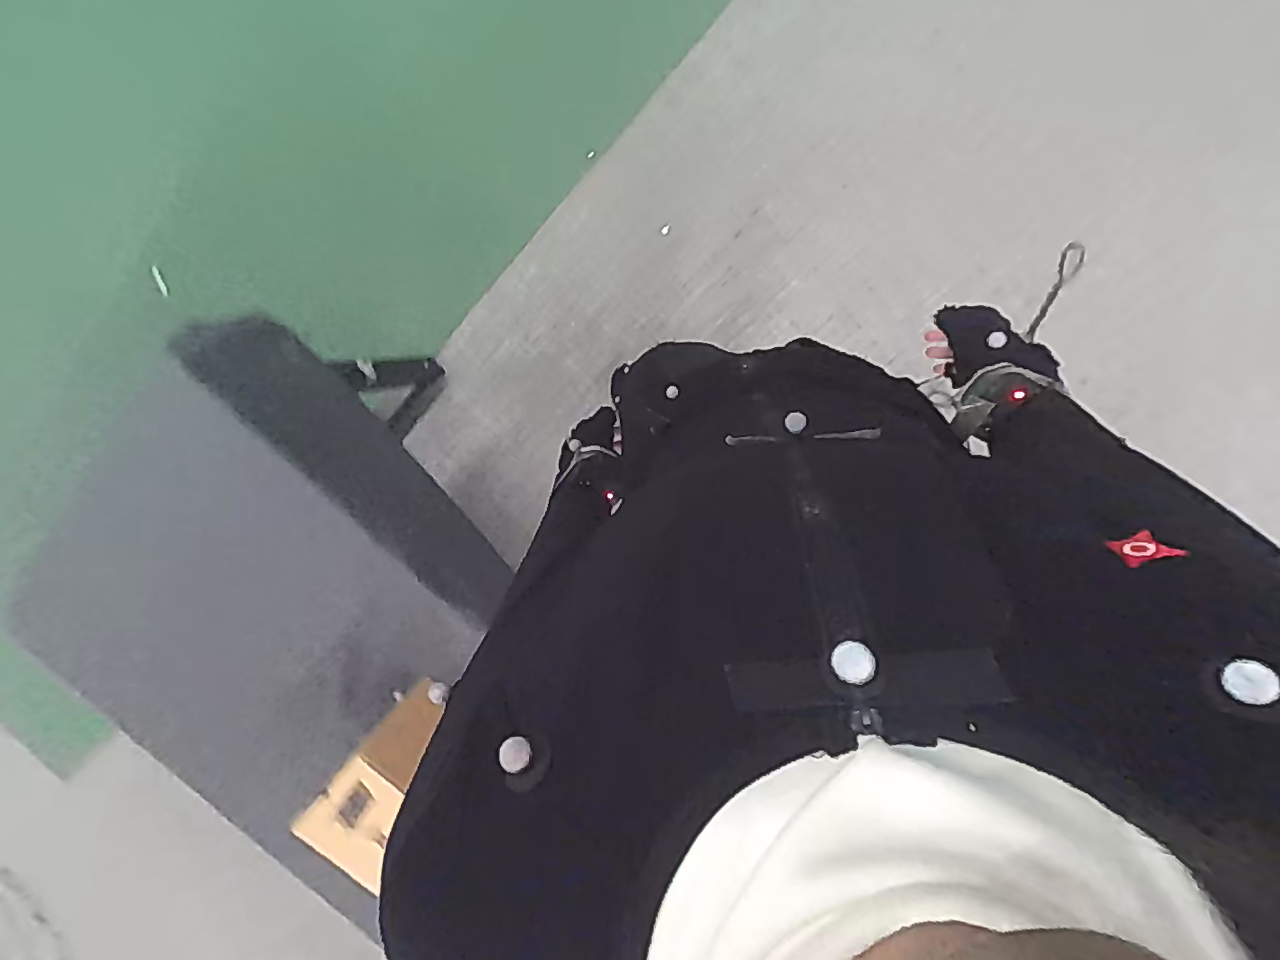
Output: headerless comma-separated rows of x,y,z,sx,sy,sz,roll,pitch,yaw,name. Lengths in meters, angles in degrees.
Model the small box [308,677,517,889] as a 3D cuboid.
-0.310,0.413,0.770,0.179,0.176,0.168,41,106,-4,small box
